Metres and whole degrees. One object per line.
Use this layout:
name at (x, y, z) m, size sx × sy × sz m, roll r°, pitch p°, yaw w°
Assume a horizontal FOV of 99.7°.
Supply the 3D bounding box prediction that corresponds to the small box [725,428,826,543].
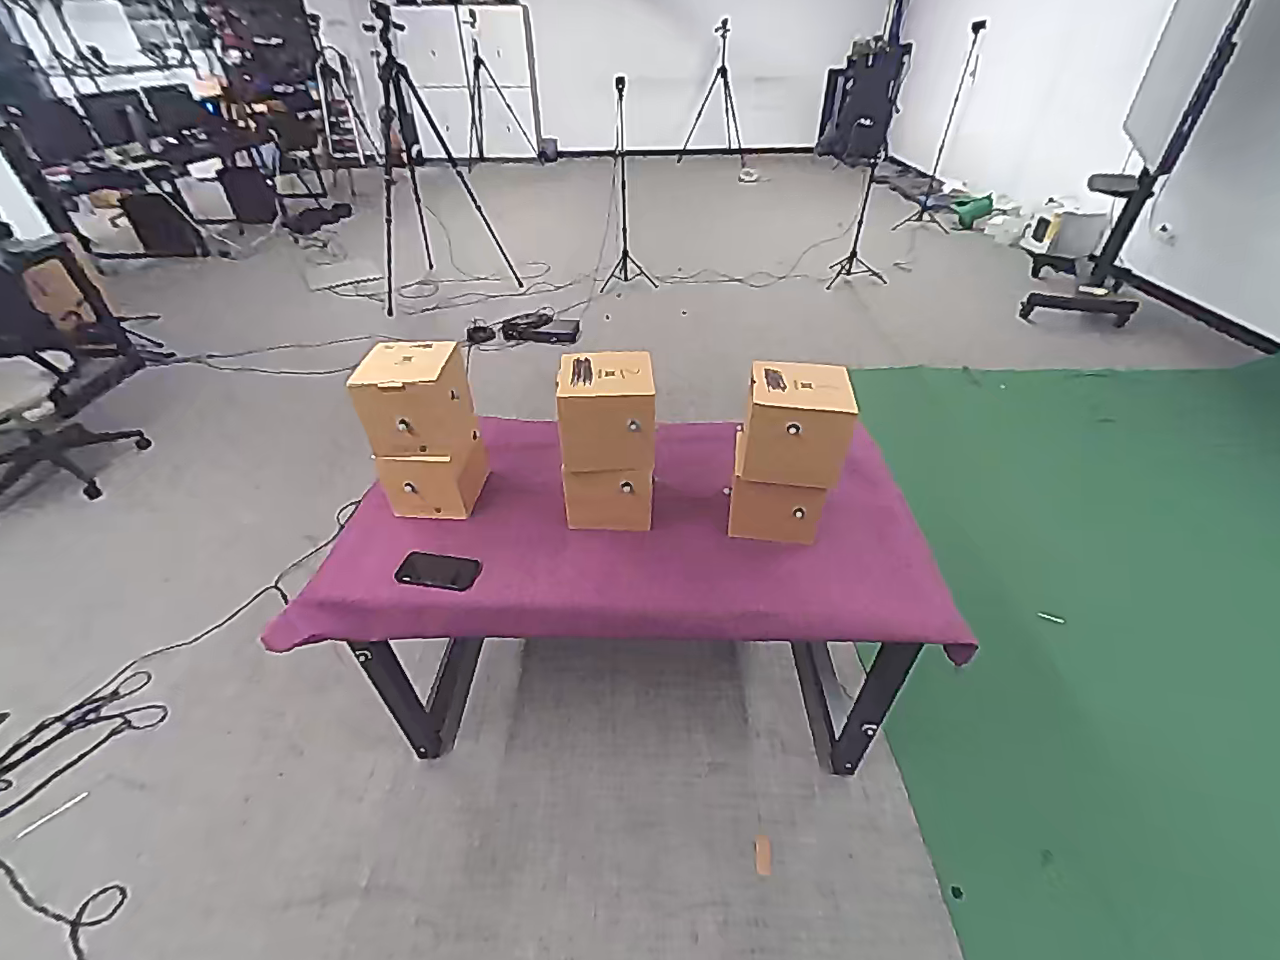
small box at (0.277, 0.012, 1.126) m, size 0.179 × 0.176 × 0.168 m, roll 6°, pitch 40°, yaw 9°

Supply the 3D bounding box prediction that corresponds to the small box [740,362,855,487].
small box at (0.284, -0.104, 1.009) m, size 0.179 × 0.176 × 0.168 m, roll 7°, pitch 40°, yaw 7°

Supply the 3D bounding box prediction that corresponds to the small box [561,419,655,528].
small box at (-0.061, -0.013, 1.156) m, size 0.179 × 0.176 × 0.168 m, roll 2°, pitch 40°, yaw 4°

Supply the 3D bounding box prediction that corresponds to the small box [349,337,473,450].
small box at (-0.450, -0.173, 1.097) m, size 0.168 × 0.176 × 0.179 m, roll 0°, pitch 40°, yaw -1°

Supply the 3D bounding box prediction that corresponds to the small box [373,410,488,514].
small box at (-0.449, -0.042, 1.196) m, size 0.168 × 0.176 × 0.179 m, roll 3°, pitch 40°, yaw 4°
